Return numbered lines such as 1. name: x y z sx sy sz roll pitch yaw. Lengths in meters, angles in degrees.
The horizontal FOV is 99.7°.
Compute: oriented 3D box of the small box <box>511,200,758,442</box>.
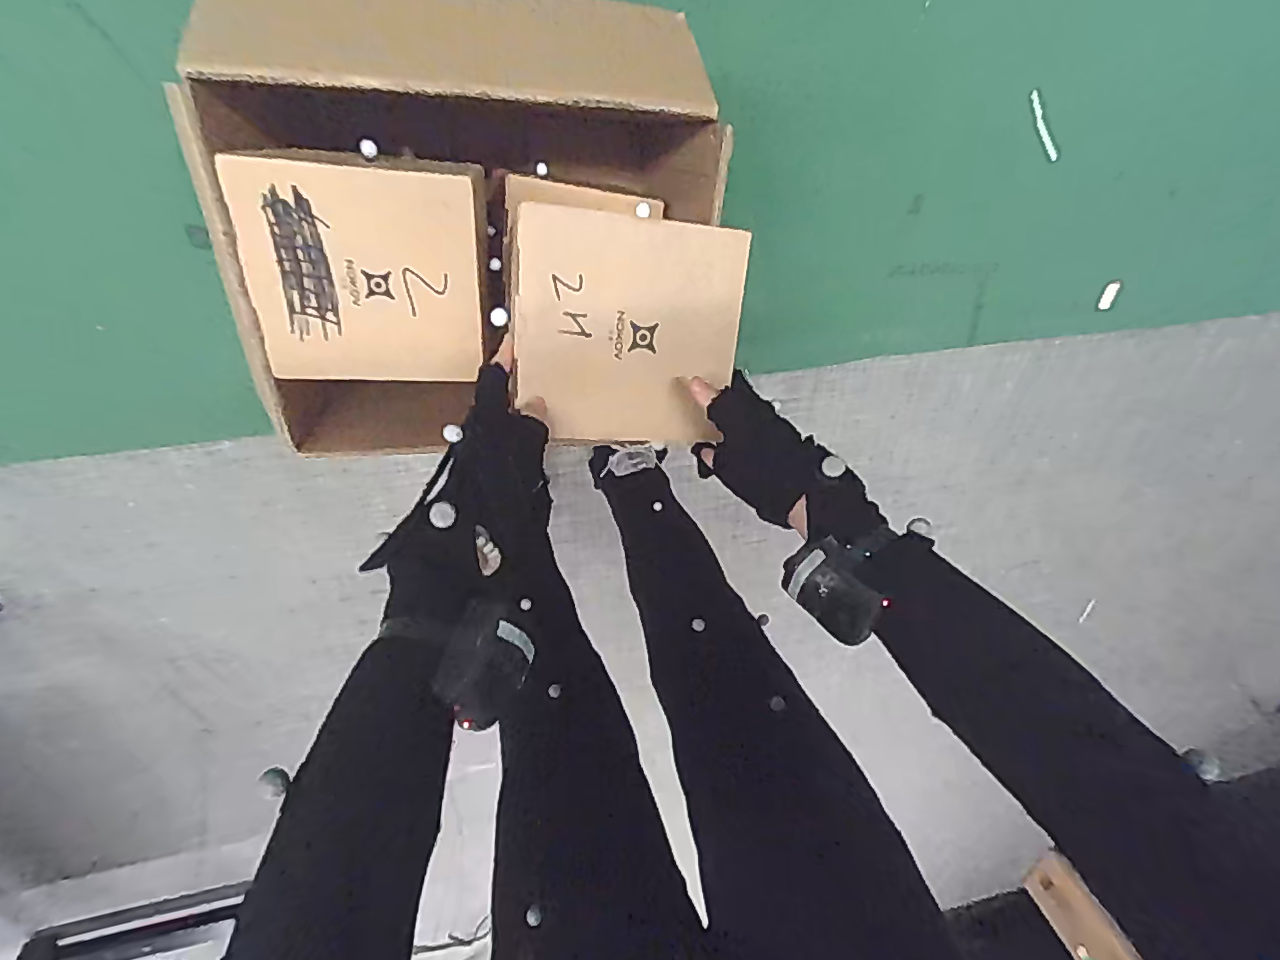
1. small box: -0.021 -0.136 0.485 0.179 0.176 0.168 1 108 -15
